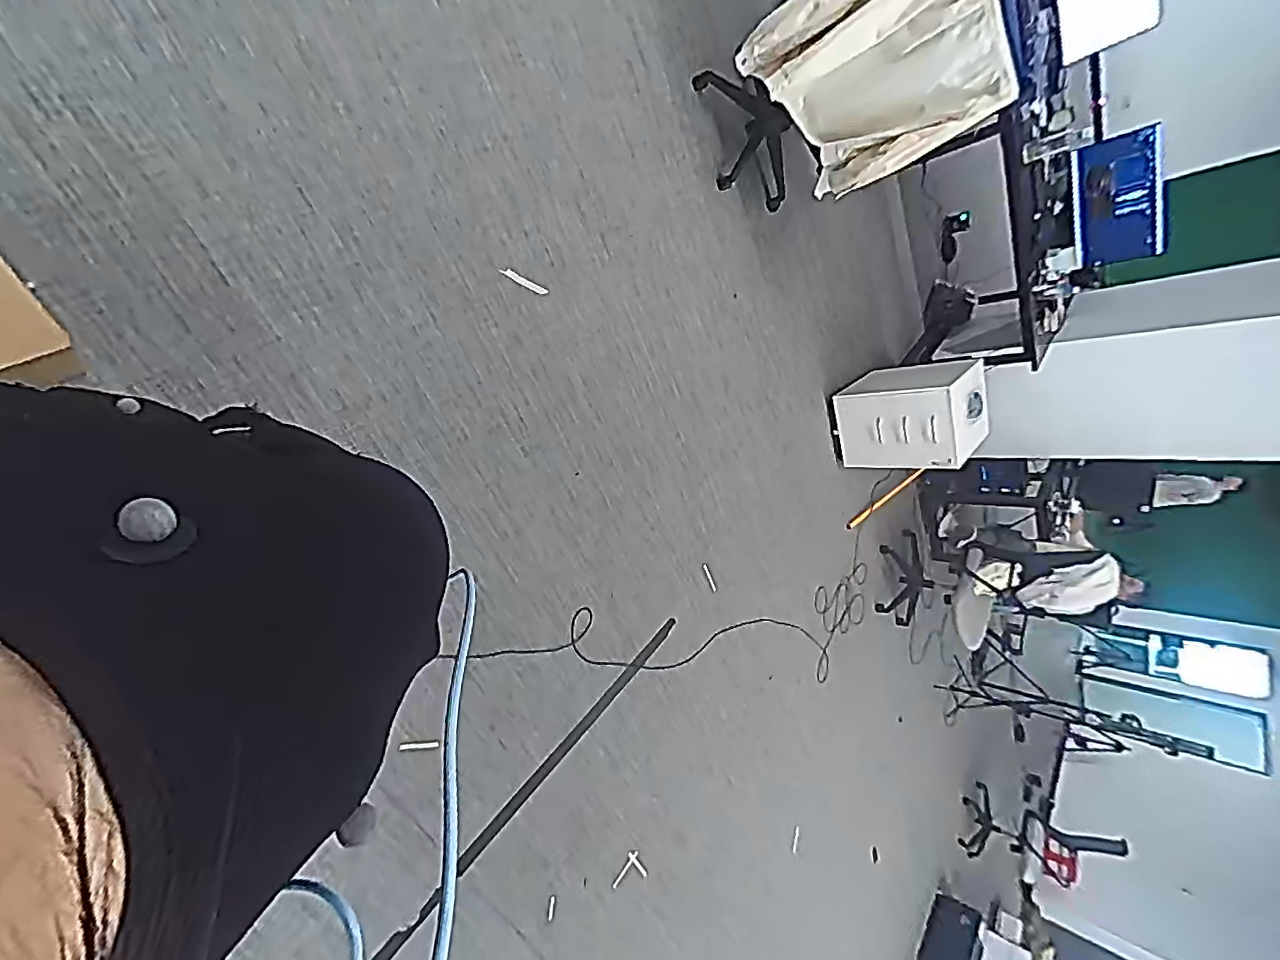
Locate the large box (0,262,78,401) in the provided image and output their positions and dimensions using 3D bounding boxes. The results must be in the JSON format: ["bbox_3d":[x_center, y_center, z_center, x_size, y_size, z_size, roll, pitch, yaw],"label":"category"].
[{"bbox_3d":[-1.093,-0.212,0.704,0.408,0.320,0.320,-41,119,-35],"label":"large box"}]
